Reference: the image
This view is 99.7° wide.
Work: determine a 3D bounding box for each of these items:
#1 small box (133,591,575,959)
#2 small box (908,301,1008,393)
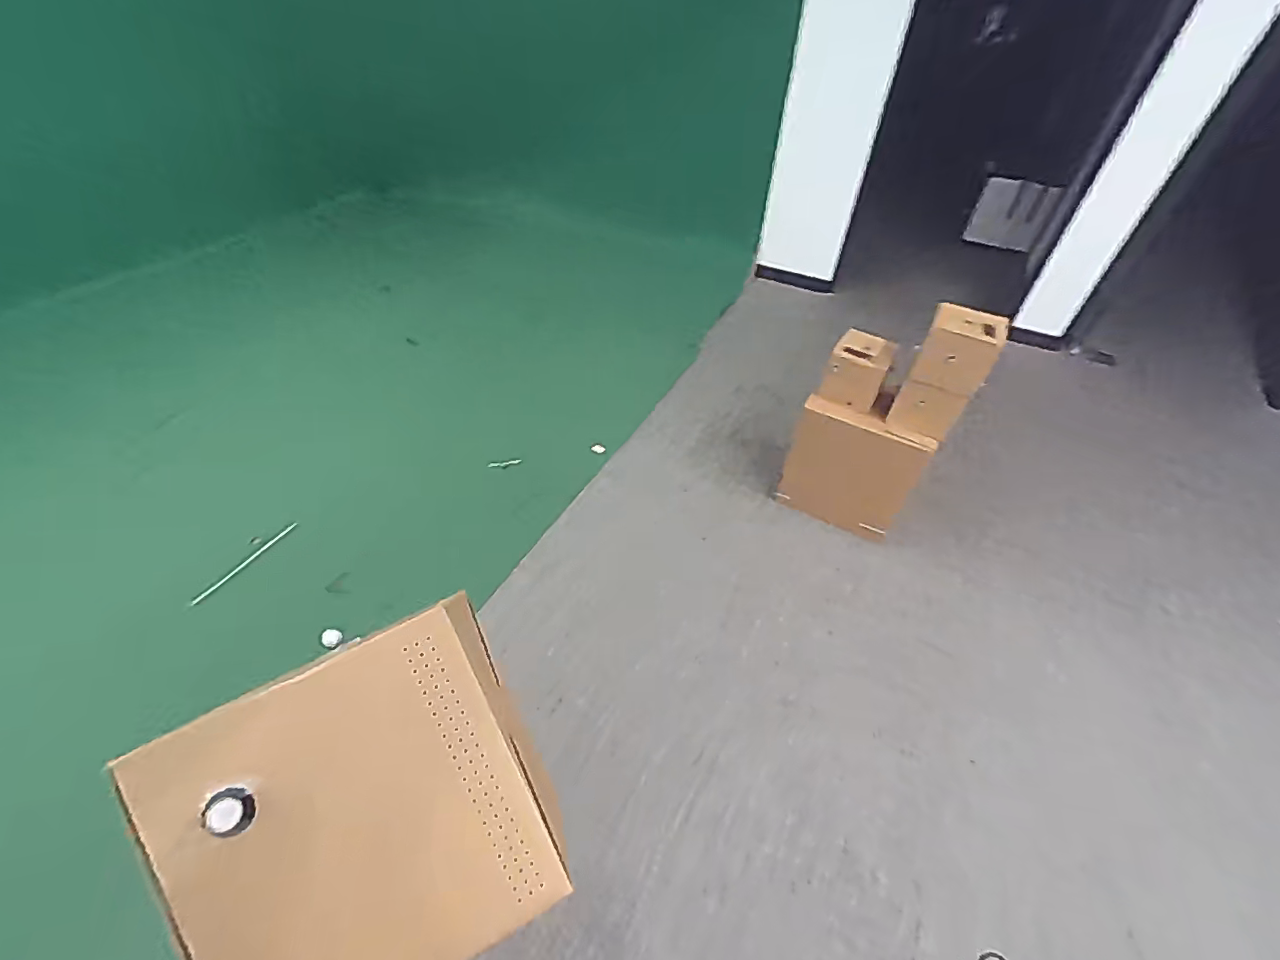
[{"bbox_3d":[-0.160,0.189,0.360,0.176,0.168,0.179,-25,88,-15],"label":"small box"},{"bbox_3d":[0.882,-0.366,1.506,0.179,0.176,0.168,24,51,20],"label":"small box"}]
